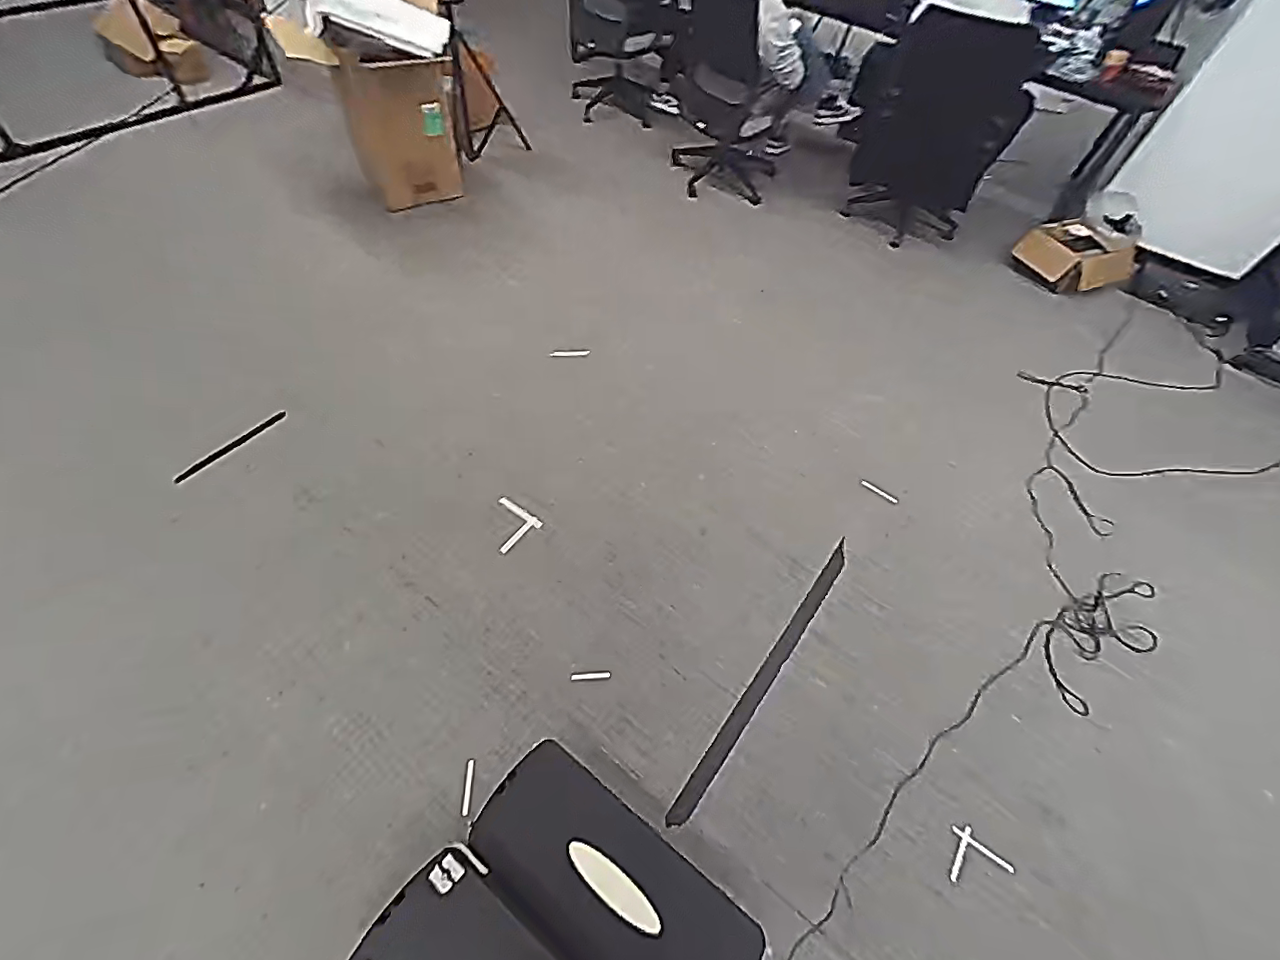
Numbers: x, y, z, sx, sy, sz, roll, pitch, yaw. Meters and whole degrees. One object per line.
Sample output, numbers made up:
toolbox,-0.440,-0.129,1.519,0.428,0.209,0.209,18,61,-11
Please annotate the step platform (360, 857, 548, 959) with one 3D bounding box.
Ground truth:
step platform,-0.229,1.077,0.998,0.684,0.204,0.286,37,58,22
